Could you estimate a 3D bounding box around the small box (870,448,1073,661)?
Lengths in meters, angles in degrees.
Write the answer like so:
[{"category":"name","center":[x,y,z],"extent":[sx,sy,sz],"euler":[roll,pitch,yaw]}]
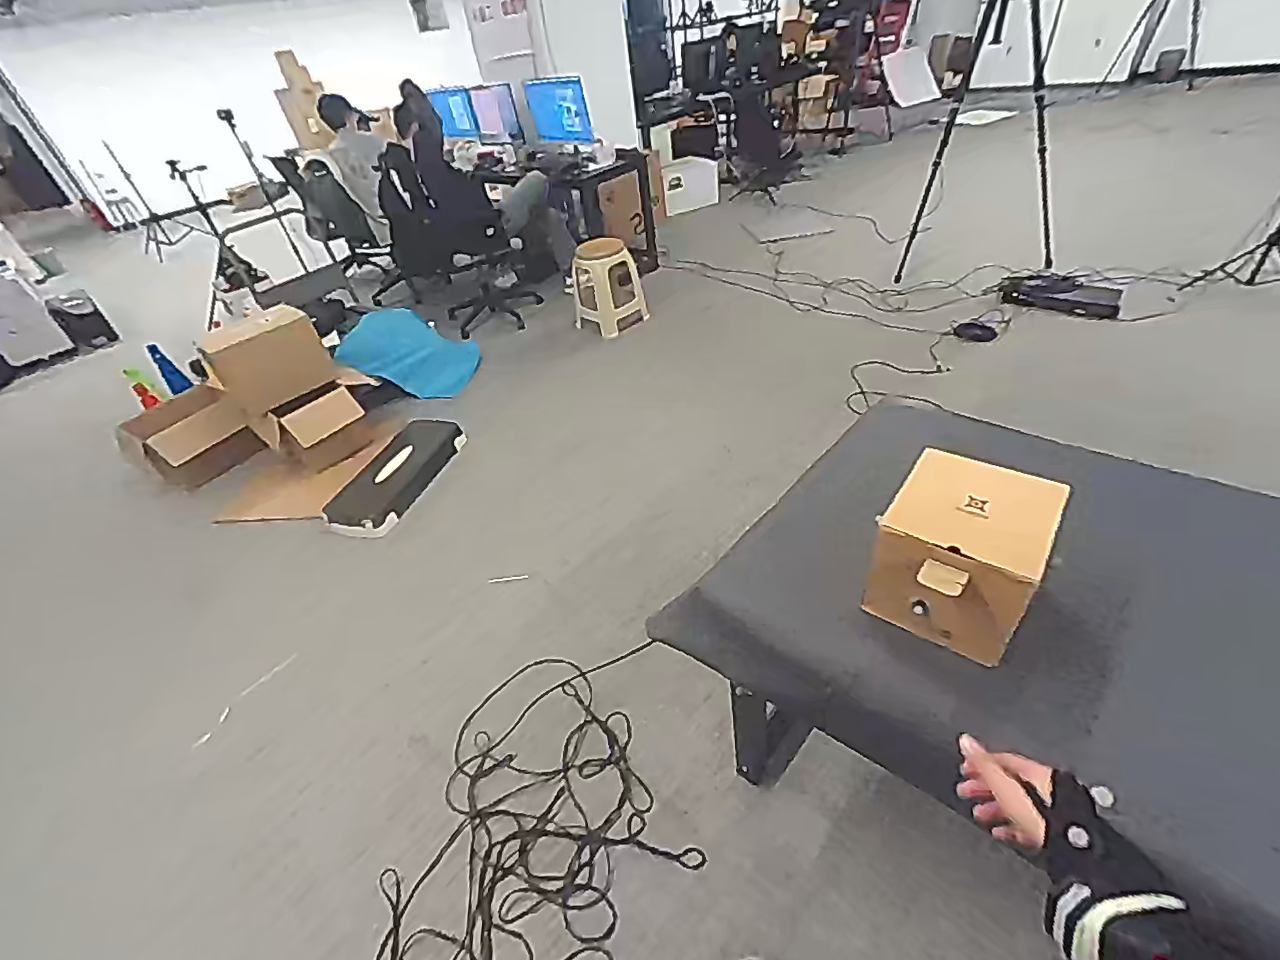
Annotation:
[{"category":"small box","center":[0.415,0.091,0.696],"extent":[0.168,0.176,0.179],"euler":[23,50,33]}]
